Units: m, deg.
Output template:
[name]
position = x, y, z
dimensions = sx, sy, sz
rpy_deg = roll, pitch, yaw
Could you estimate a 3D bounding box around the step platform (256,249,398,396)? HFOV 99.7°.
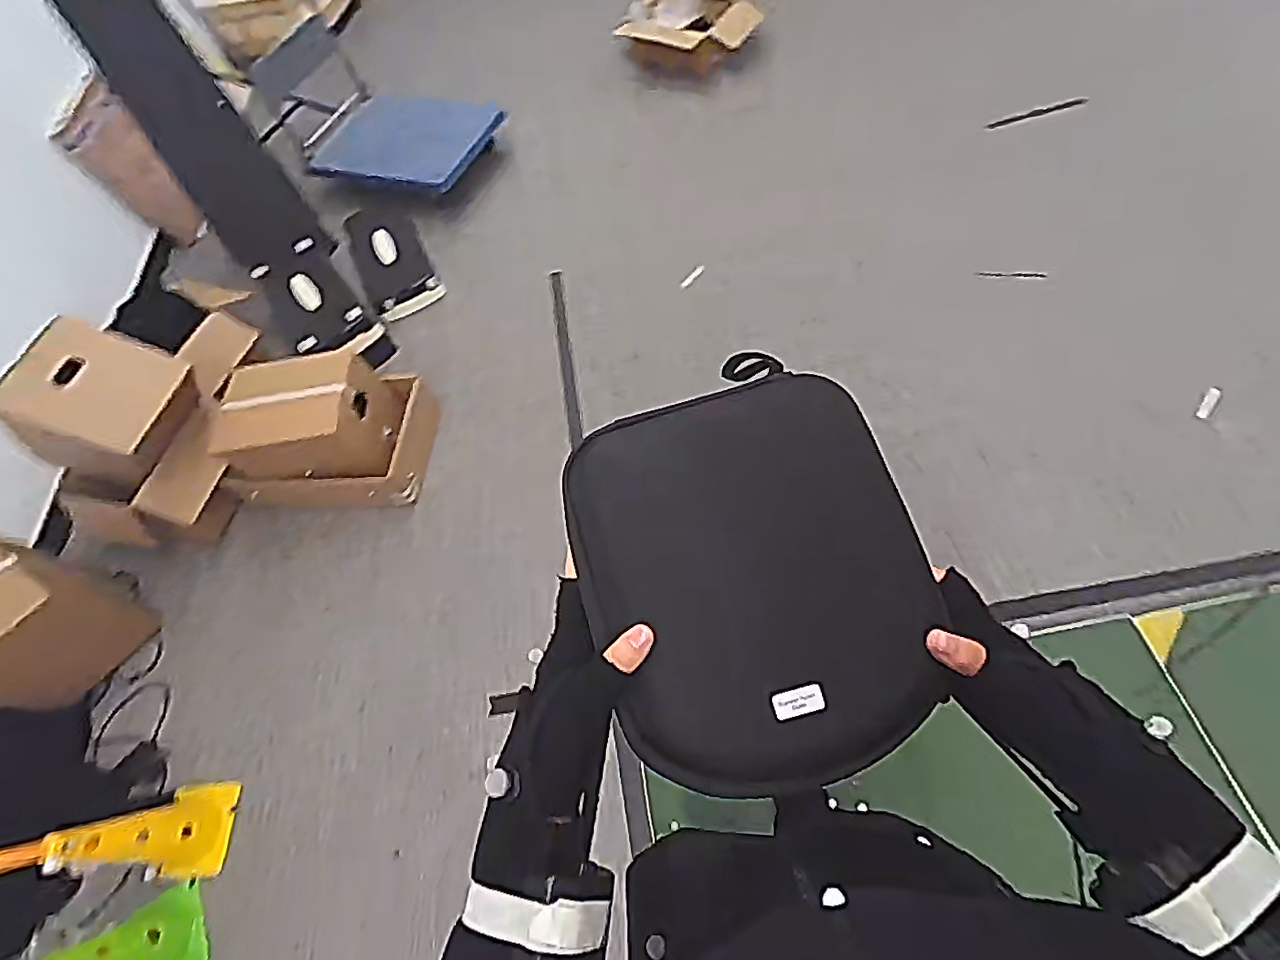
[step platform]
position = -1.255, -0.644, 2.155
dimensions = 0.286, 0.204, 0.684
rpy_deg = -39, 63, -11
